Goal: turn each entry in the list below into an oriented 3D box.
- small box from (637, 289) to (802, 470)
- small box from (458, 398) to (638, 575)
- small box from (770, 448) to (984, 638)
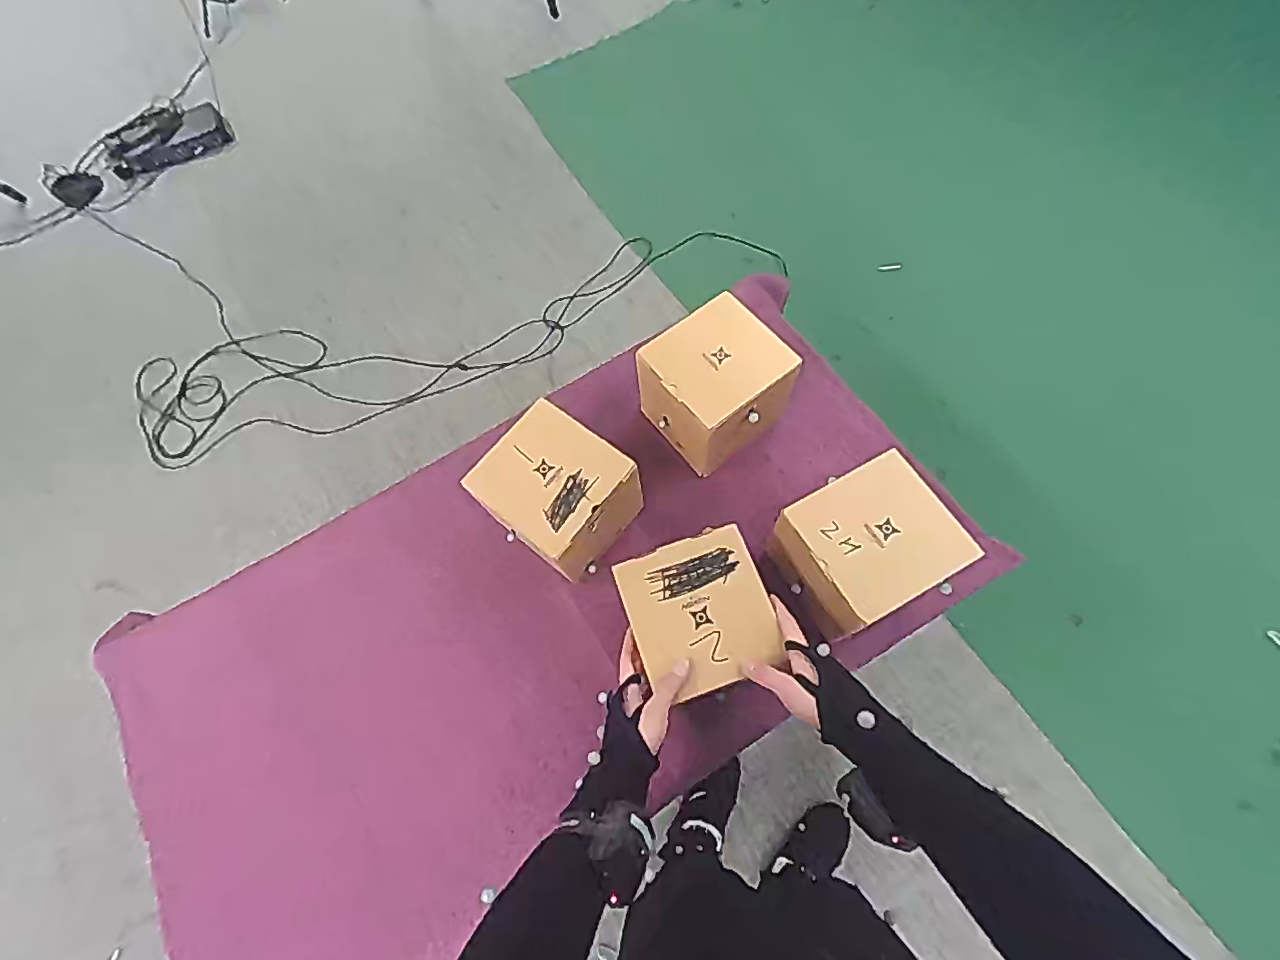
[{"bbox_3d":[0.114,-0.146,0.831,0.179,0.176,0.168,-37,71,-9],"label":"small box"},{"bbox_3d":[-0.118,0.020,0.782,0.179,0.176,0.168,35,75,16],"label":"small box"},{"bbox_3d":[0.295,0.091,0.719,0.179,0.176,0.168,-28,67,-6],"label":"small box"}]
